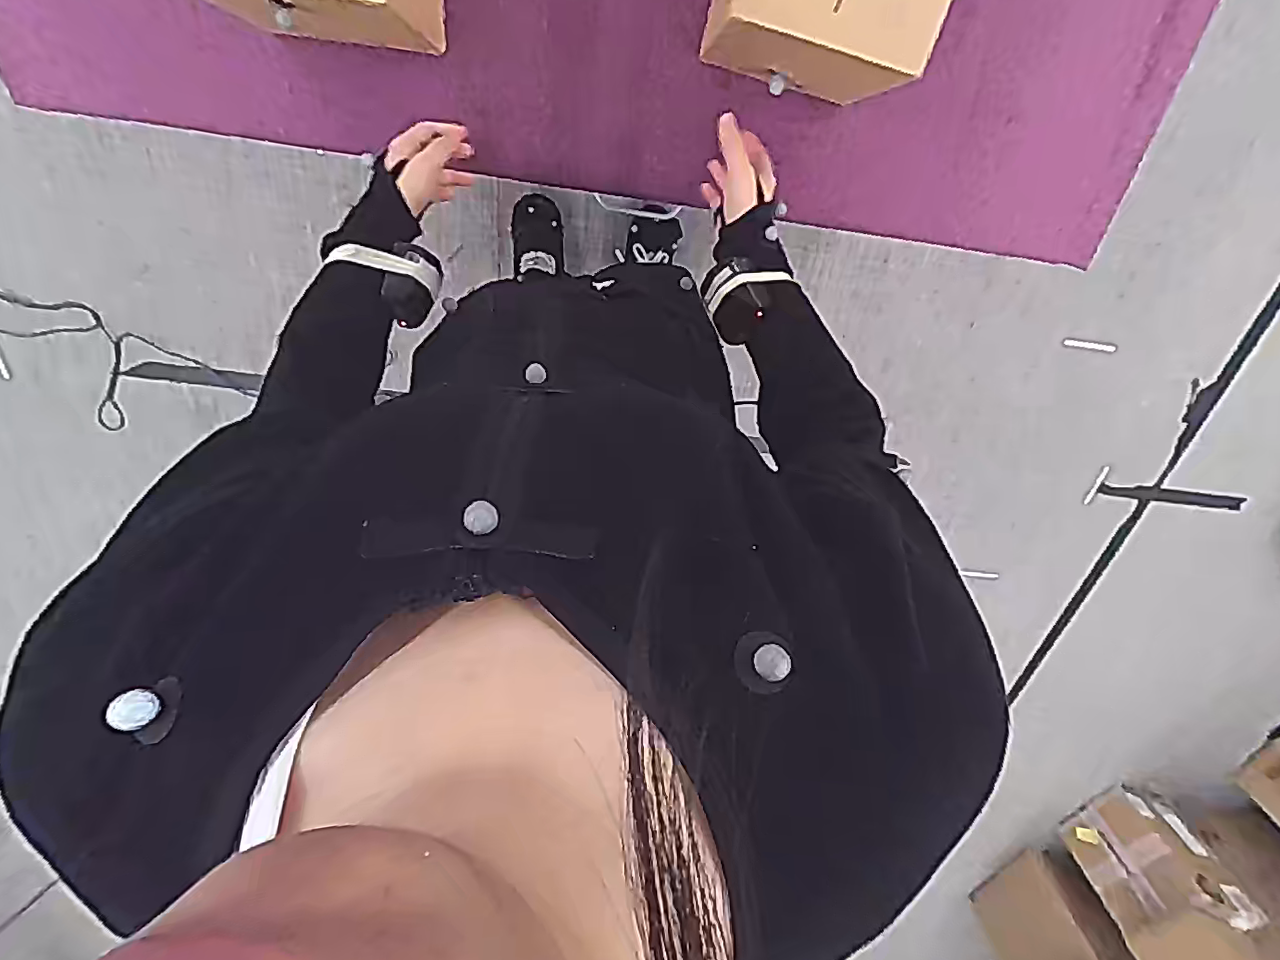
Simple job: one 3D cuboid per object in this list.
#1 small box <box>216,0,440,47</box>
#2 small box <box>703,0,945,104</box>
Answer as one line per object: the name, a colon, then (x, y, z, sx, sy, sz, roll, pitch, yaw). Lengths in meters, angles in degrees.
small box: (-0.267, -0.471, 0.430, 0.179, 0.176, 0.168, 5, 118, -5)
small box: (0.160, -0.452, 0.459, 0.168, 0.176, 0.179, 11, 118, -9)
